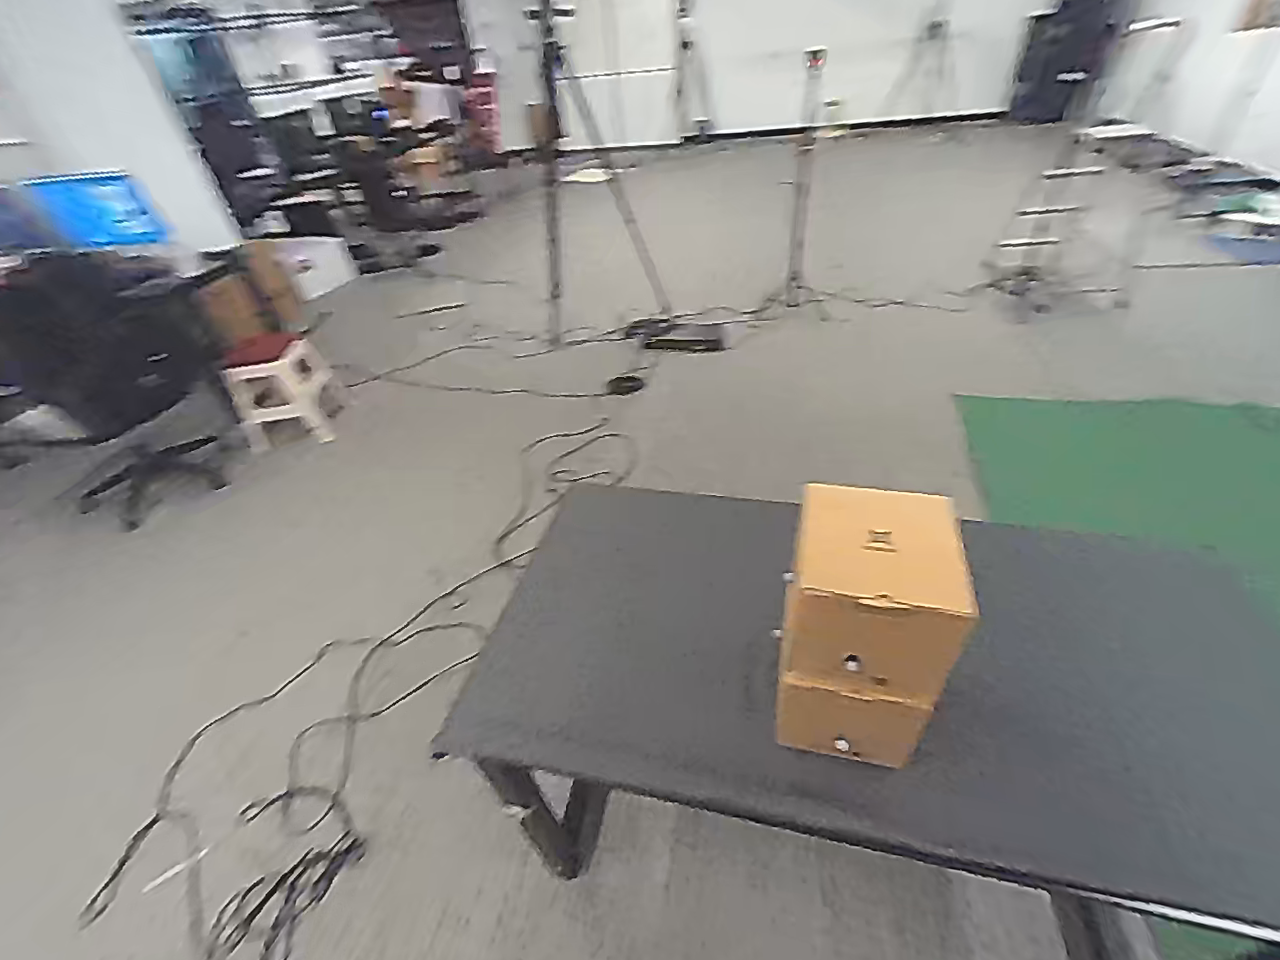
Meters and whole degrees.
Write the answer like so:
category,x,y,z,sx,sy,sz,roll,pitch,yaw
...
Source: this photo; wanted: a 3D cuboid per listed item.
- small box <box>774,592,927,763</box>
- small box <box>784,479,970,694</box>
category,x,y,z,sx,sy,sz,roll,pitch,yaw
small box,0.277,0.254,0.747,0.168,0.176,0.179,4,41,15
small box,0.266,0.124,0.650,0.168,0.176,0.179,6,41,15
